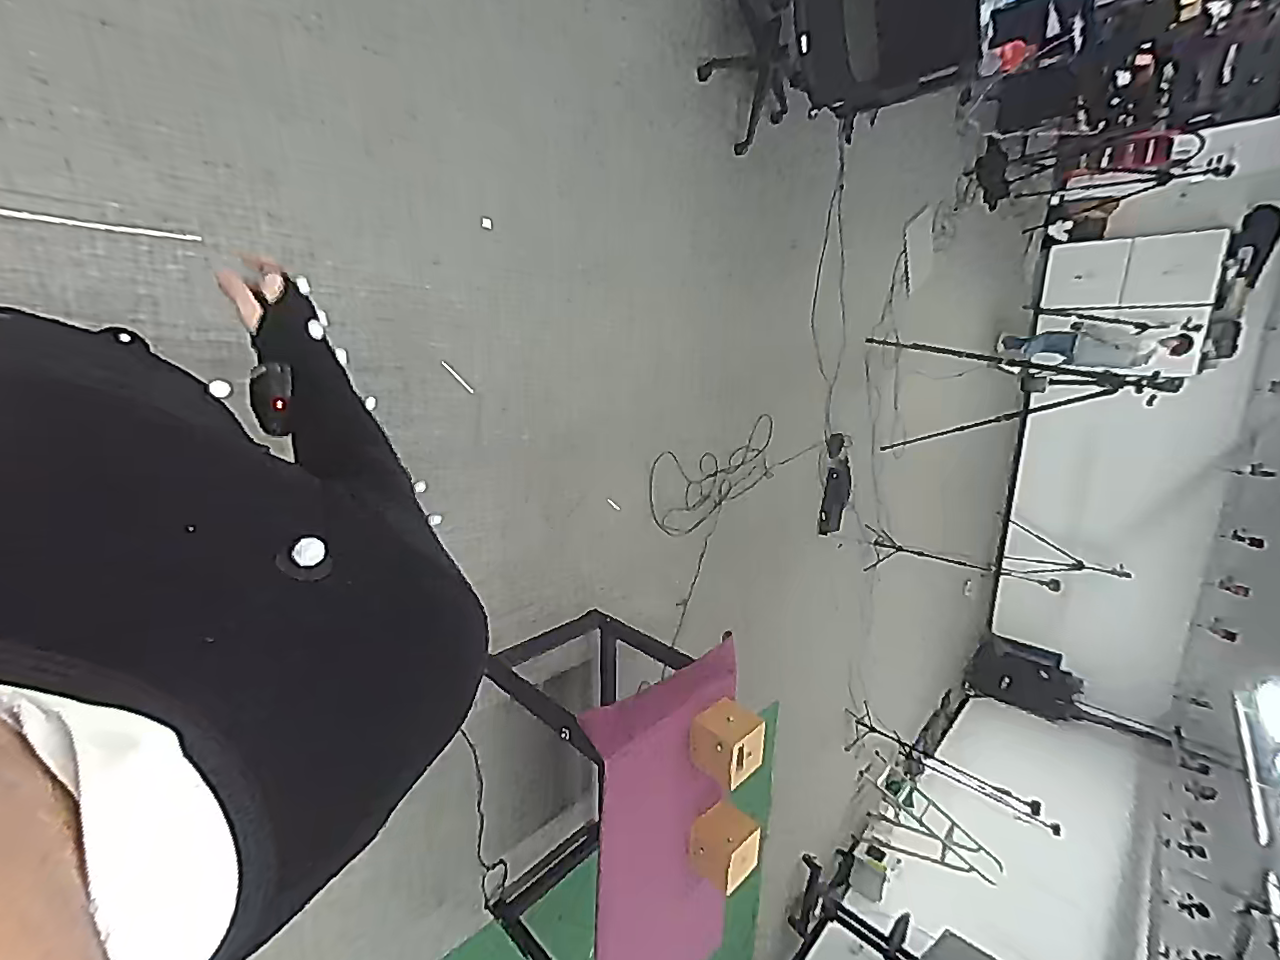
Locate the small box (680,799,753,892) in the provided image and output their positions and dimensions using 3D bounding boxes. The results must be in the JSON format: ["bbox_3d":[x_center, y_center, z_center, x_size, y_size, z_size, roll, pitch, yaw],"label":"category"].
[{"bbox_3d":[0.263,1.252,1.869,0.179,0.176,0.168,-7,106,-42],"label":"small box"}]
